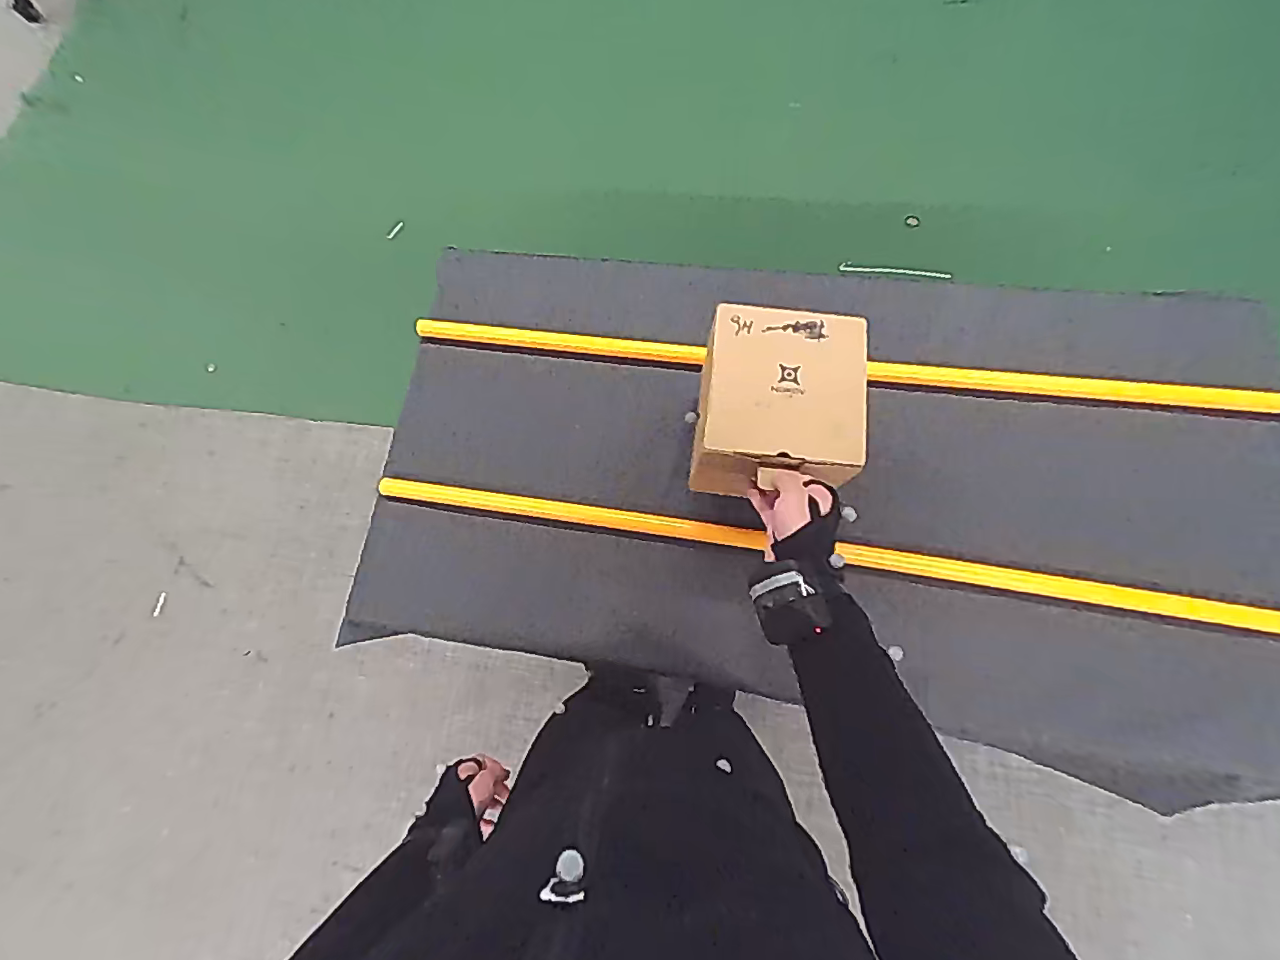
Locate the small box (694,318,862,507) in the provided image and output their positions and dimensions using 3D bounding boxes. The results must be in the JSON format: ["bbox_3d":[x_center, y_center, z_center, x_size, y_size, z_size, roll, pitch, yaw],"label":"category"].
[{"bbox_3d":[0.155,-0.071,0.652,0.168,0.176,0.179,4,74,3],"label":"small box"}]
